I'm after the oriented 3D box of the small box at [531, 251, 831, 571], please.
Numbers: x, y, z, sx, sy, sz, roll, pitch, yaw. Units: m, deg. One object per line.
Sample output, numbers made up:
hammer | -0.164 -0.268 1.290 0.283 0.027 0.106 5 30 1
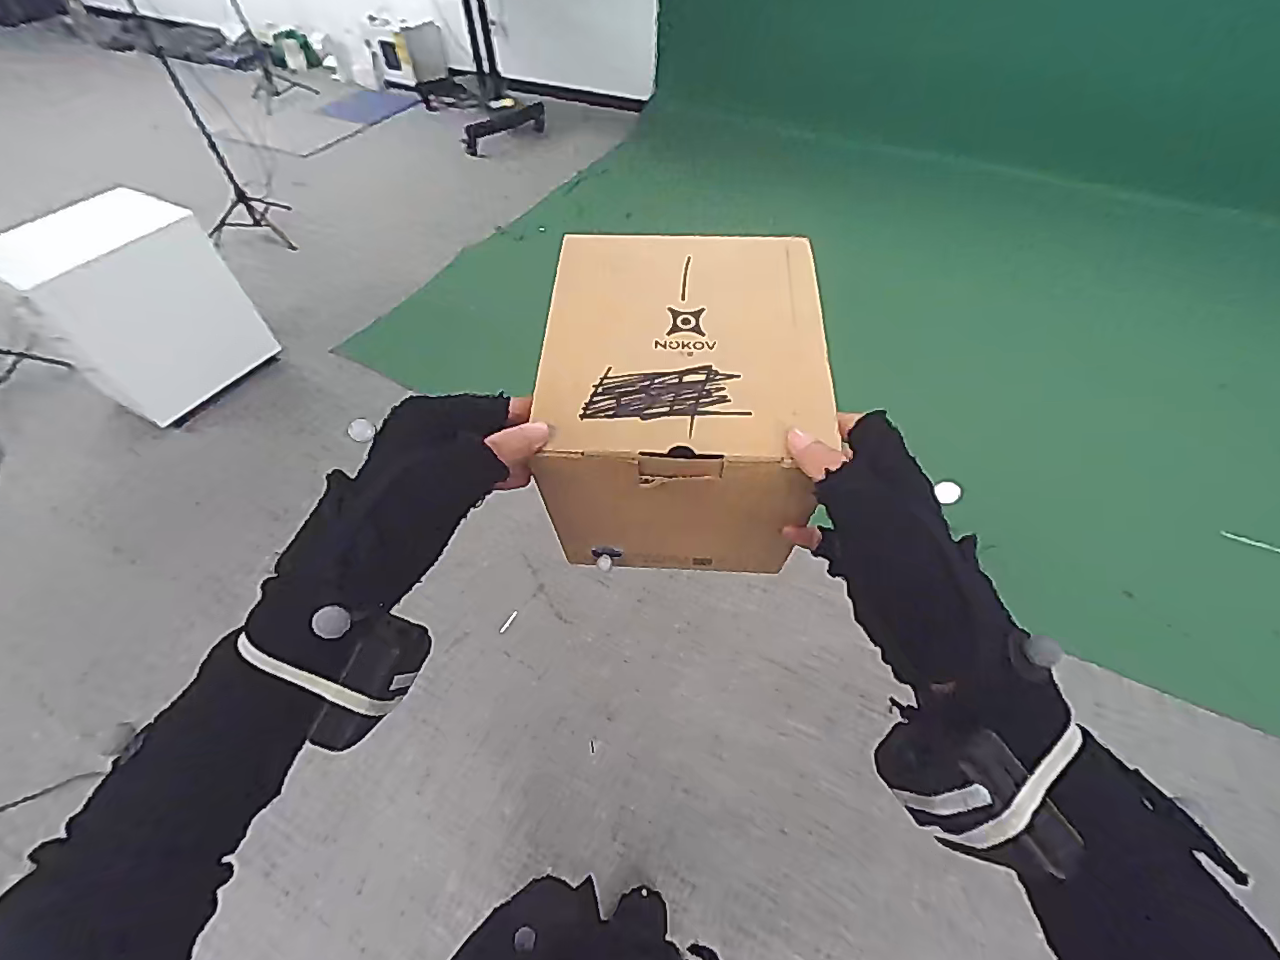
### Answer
small box | 0.030 -0.042 0.399 0.168 0.176 0.179 2 60 3
